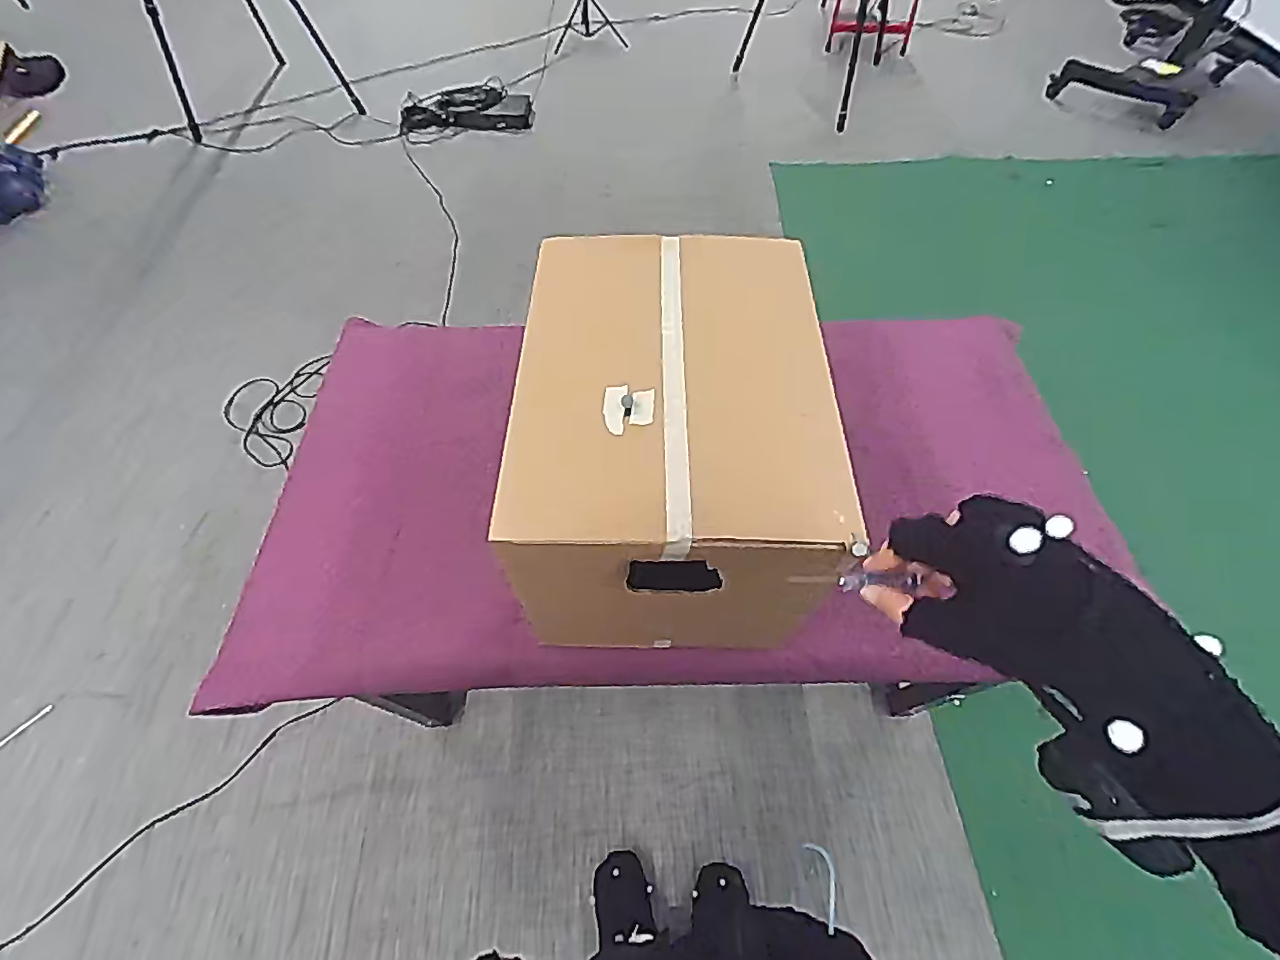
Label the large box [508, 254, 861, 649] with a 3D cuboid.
[{"bbox_3d":[0.036,-0.027,0.691,0.320,0.320,0.408,1,59,0],"label":"large box"}]
